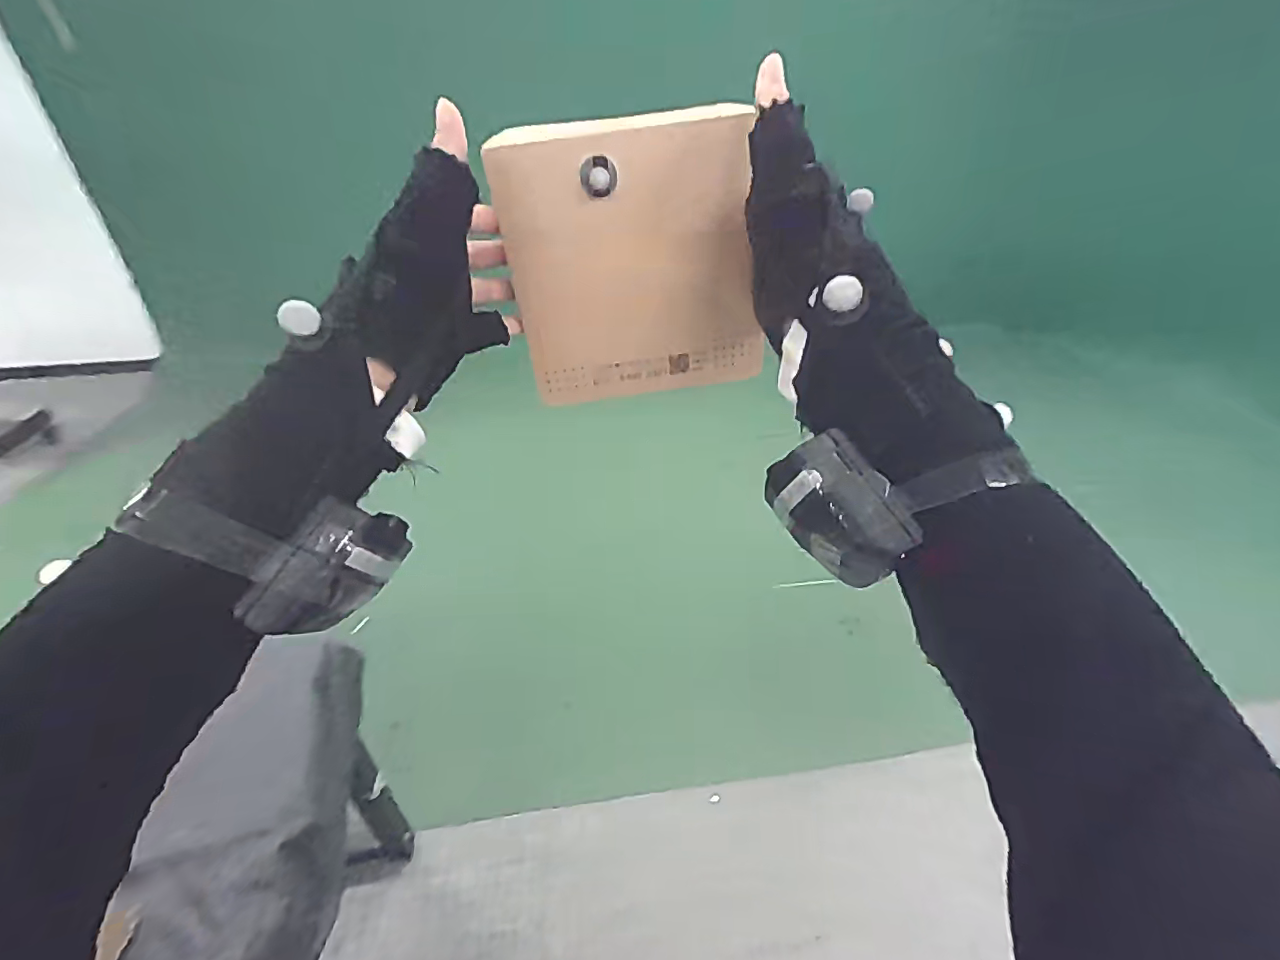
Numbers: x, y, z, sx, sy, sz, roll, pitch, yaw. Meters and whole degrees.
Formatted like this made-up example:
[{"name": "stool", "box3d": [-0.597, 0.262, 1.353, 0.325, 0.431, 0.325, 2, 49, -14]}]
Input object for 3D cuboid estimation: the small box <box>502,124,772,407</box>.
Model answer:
[{"name": "small box", "box3d": [0.001, -0.176, 0.435, 0.168, 0.176, 0.179, -8, 34, 0]}]
